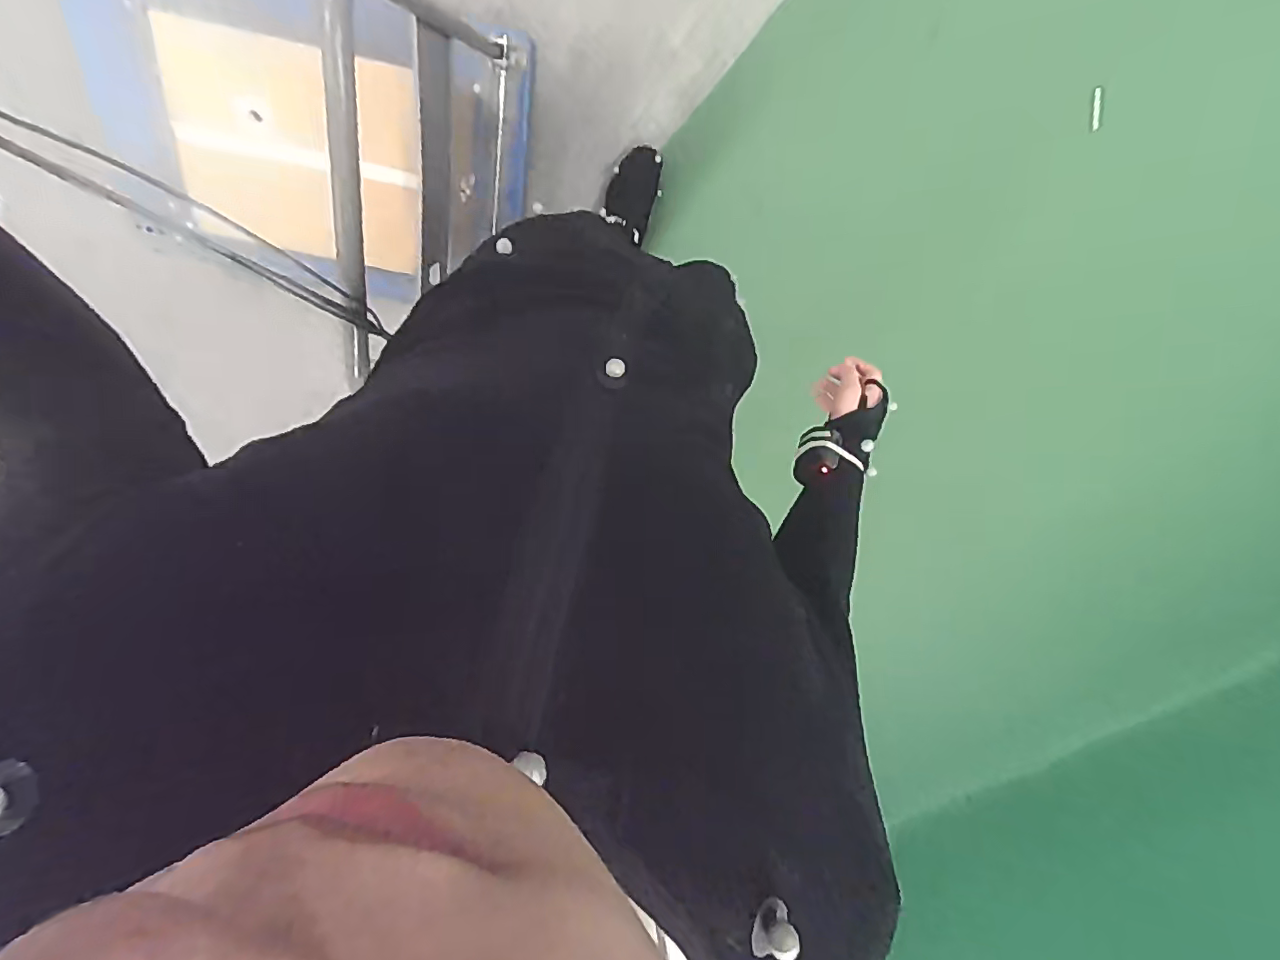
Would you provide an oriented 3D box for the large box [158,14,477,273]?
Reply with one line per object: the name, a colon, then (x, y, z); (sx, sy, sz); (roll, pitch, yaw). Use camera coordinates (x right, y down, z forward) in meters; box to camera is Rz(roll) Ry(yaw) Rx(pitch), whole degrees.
large box: (-0.548, -0.616, 1.024); (0.408, 0.320, 0.320); (10, 121, -5)
